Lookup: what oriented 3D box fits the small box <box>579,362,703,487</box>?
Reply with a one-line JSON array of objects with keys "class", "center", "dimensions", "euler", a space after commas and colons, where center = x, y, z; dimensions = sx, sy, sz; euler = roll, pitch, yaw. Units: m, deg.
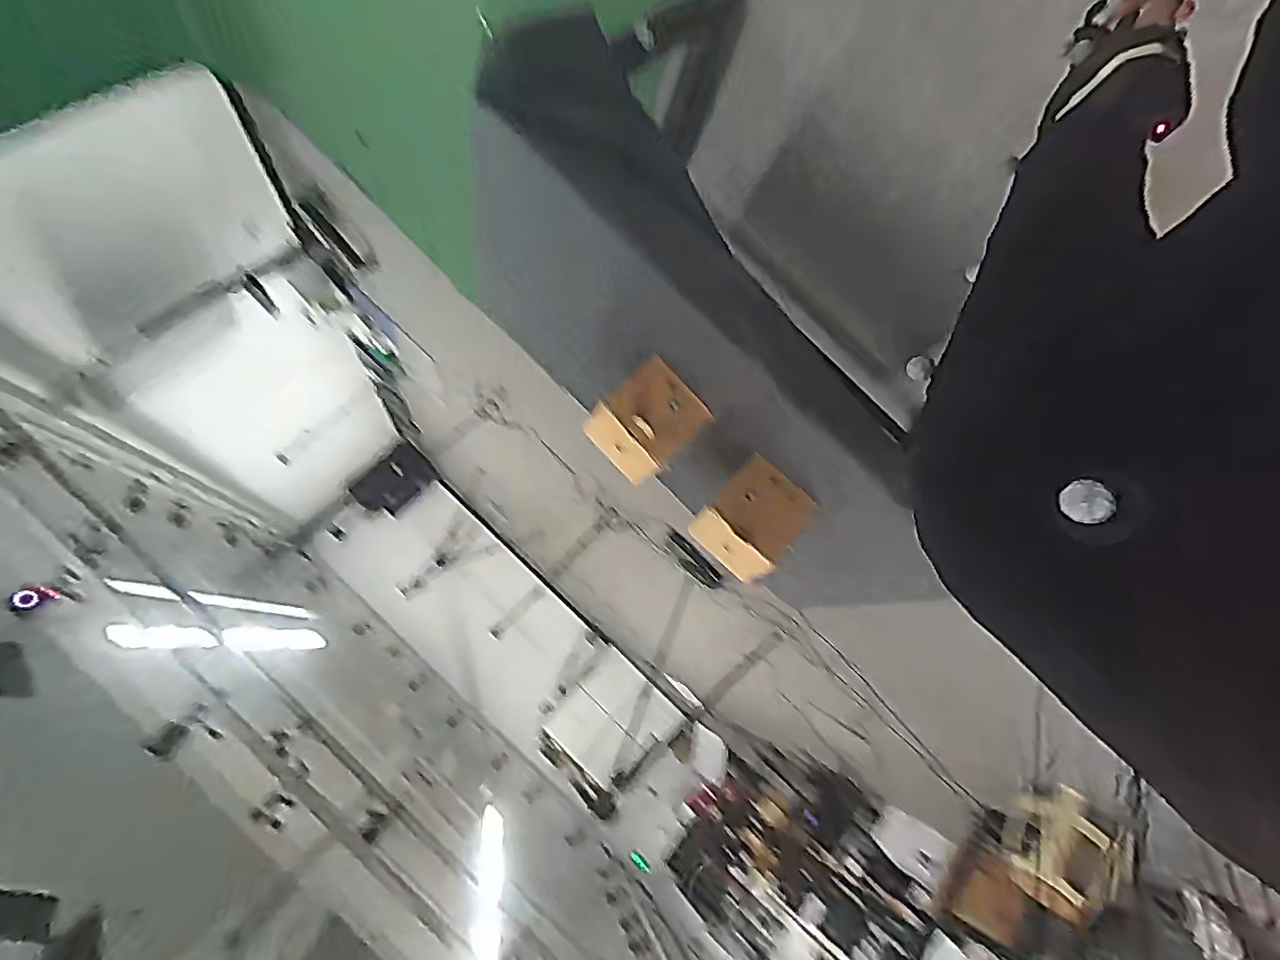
[{"class": "small box", "center": [0.002, -0.113, 1.133], "dimensions": [0.168, 0.176, 0.179], "euler": [47, 158, -5]}]

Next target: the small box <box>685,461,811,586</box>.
[{"class": "small box", "center": [0.222, 0.089, 1.110], "dimensions": [0.168, 0.176, 0.179], "euler": [42, 159, 9]}]
